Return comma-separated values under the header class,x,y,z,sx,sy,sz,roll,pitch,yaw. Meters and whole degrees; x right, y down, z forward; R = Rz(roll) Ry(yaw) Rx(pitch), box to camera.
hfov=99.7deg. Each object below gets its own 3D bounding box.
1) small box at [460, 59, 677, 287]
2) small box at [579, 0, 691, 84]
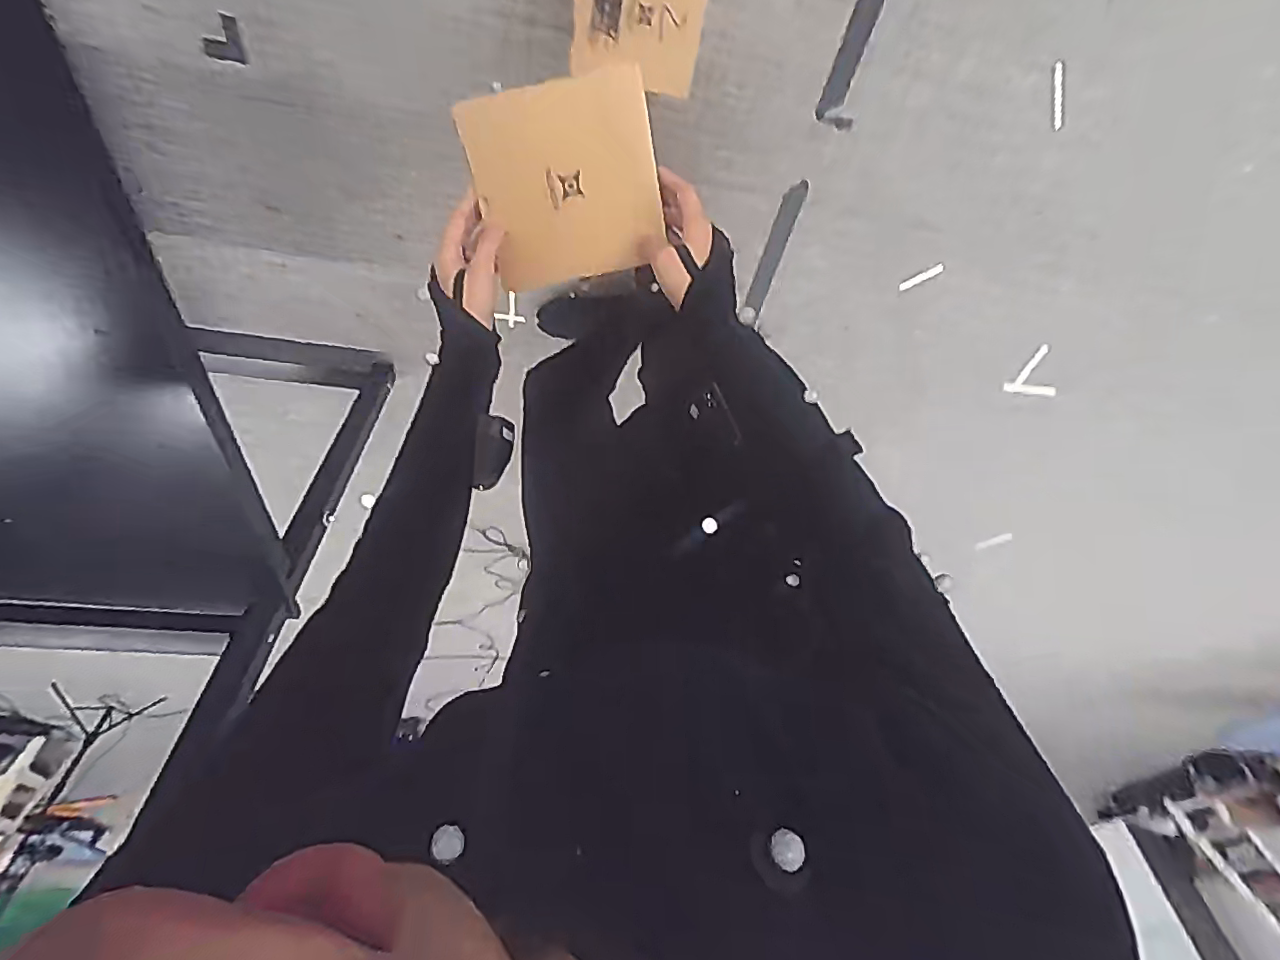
class,x,y,z,sx,sy,sz,roll,pitch,yaw
small box,-0.061,-0.319,0.579,0.179,0.176,0.168,-9,118,7
small box,-0.009,-0.786,0.886,0.168,0.176,0.179,5,136,-8
